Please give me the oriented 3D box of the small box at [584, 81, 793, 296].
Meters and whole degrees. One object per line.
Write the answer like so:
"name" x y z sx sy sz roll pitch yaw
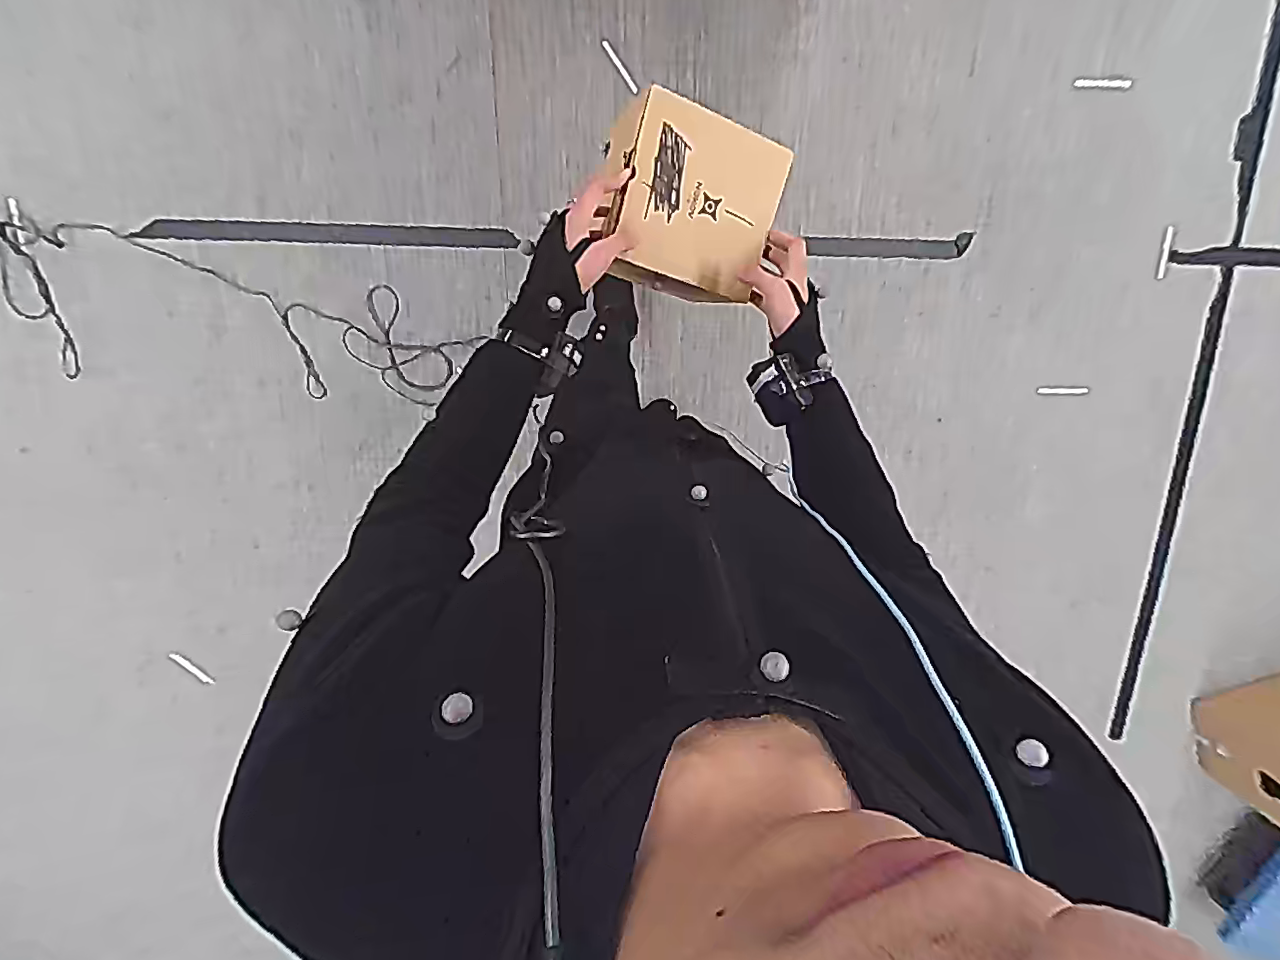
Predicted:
"small box" 0.044 -0.326 0.650 0.179 0.176 0.168 11 105 -22
